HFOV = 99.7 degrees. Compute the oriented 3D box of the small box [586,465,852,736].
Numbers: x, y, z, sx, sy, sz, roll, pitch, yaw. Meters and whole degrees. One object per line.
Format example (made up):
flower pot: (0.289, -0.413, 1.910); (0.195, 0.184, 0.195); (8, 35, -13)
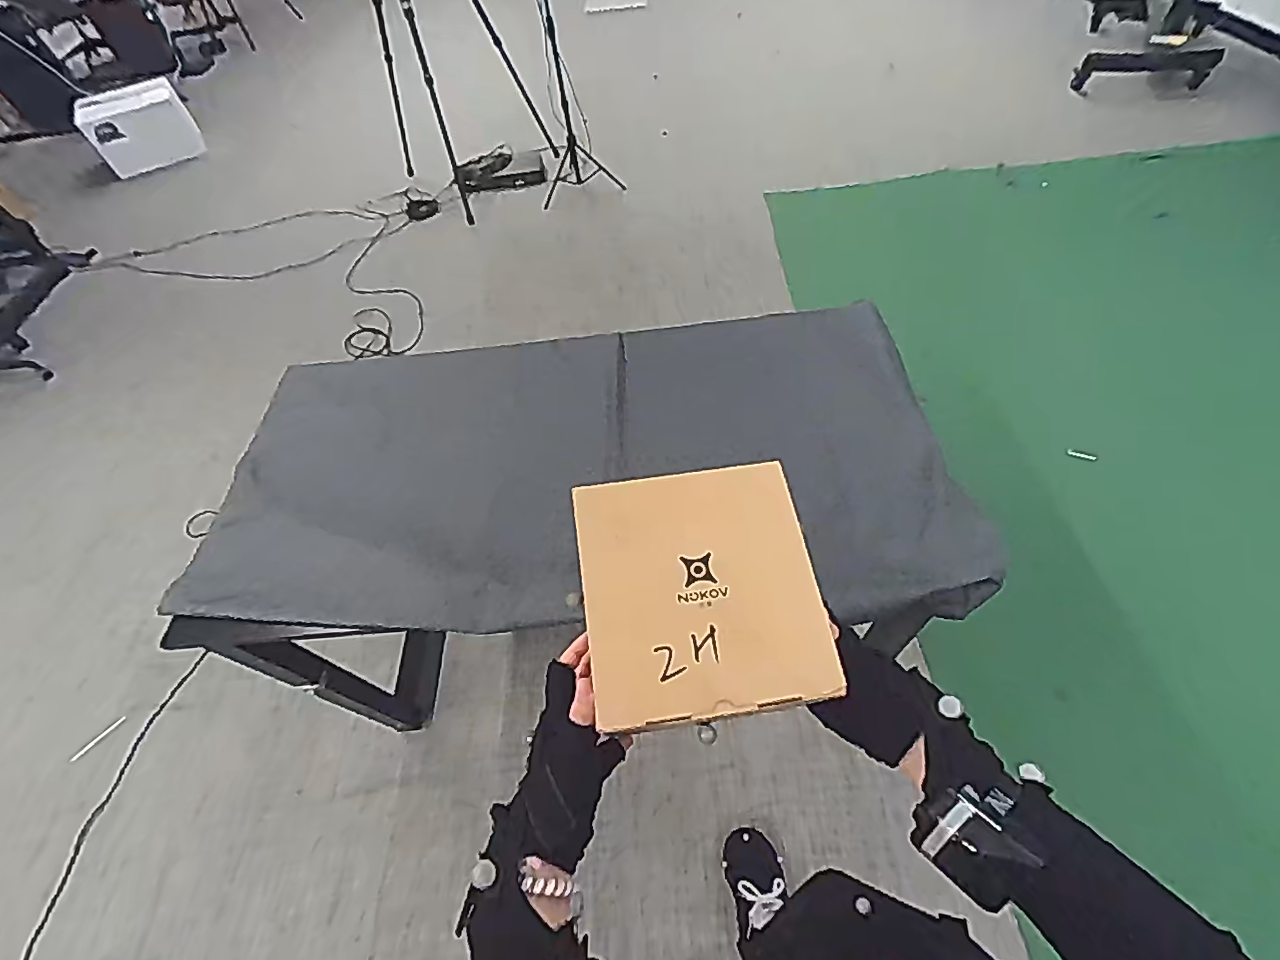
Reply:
small box: (0.046, 0.108, 0.455); (0.168, 0.176, 0.179); (-7, 64, -4)
